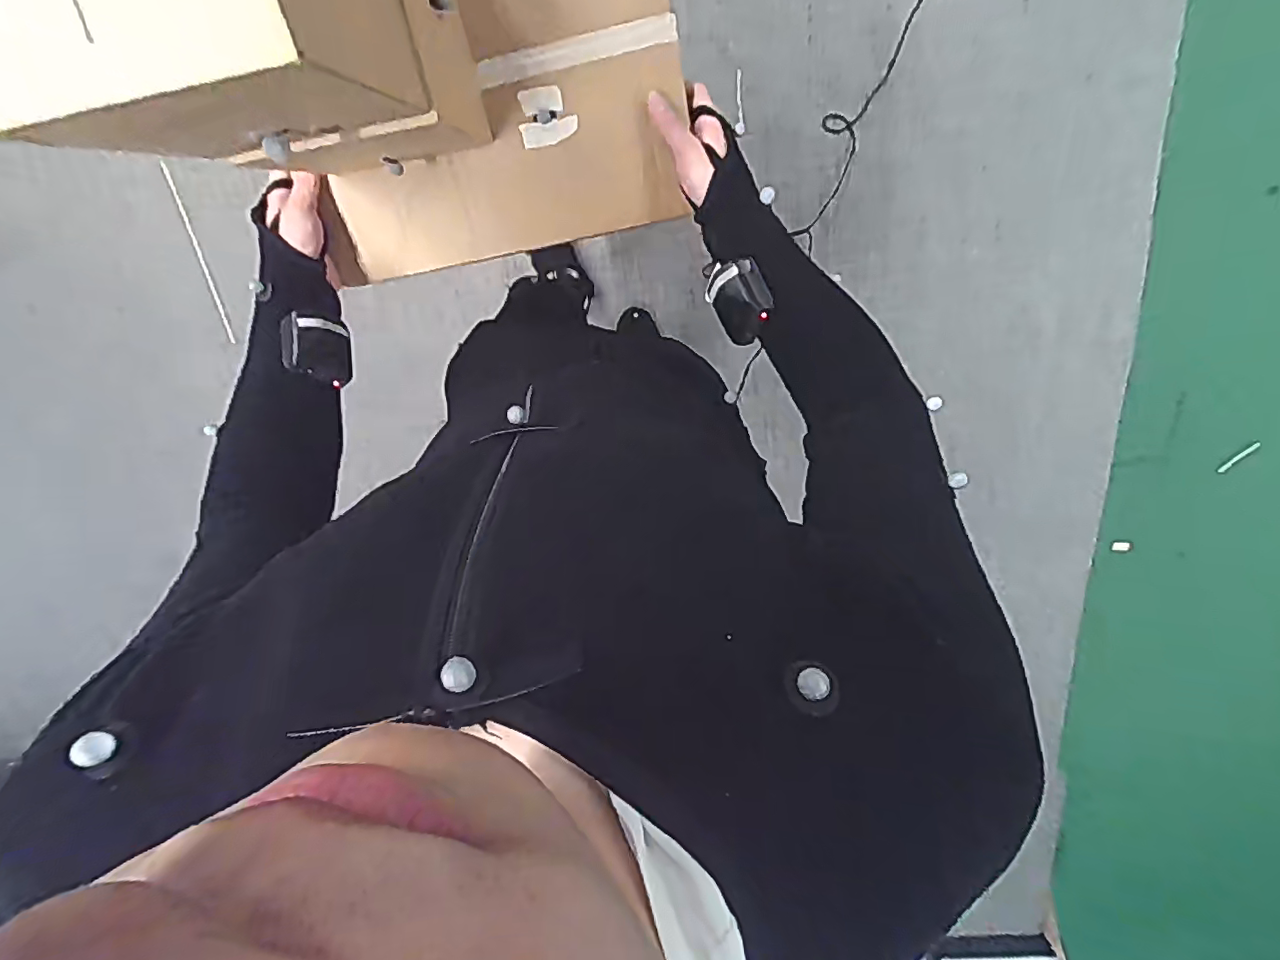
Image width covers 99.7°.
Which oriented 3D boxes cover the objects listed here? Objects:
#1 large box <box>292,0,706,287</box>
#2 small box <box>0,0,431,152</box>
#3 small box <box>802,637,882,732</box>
[{"bbox_3d":[-0.157,-0.449,0.649,0.408,0.320,0.320,-10,117,4],"label":"large box"},{"bbox_3d":[-0.233,-0.285,0.273,0.168,0.176,0.179,-9,117,4],"label":"small box"},{"bbox_3d":[0.557,0.569,1.515,0.168,0.176,0.179,4,109,5],"label":"small box"}]
